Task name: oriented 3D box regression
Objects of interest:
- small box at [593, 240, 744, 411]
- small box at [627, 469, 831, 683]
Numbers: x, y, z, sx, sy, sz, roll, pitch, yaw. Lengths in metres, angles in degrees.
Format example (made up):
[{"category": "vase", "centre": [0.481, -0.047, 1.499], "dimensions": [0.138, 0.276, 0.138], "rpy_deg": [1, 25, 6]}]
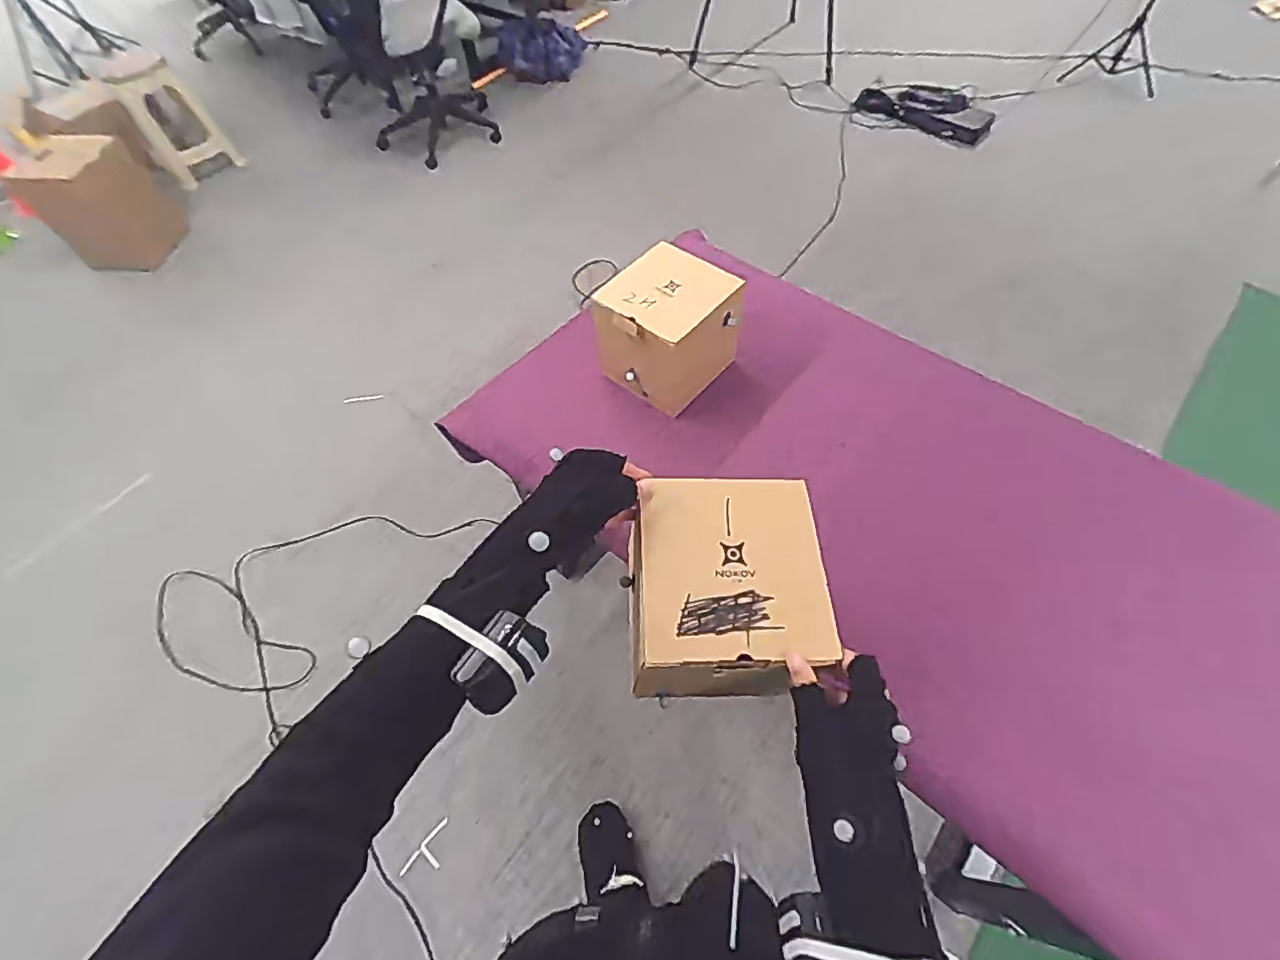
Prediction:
[{"category": "small box", "centre": [0.045, -0.249, 0.885], "dimensions": [0.168, 0.176, 0.179], "rpy_deg": [36, 67, 22]}, {"category": "small box", "centre": [0.074, 0.106, 0.555], "dimensions": [0.168, 0.176, 0.179], "rpy_deg": [1, 59, -4]}]
